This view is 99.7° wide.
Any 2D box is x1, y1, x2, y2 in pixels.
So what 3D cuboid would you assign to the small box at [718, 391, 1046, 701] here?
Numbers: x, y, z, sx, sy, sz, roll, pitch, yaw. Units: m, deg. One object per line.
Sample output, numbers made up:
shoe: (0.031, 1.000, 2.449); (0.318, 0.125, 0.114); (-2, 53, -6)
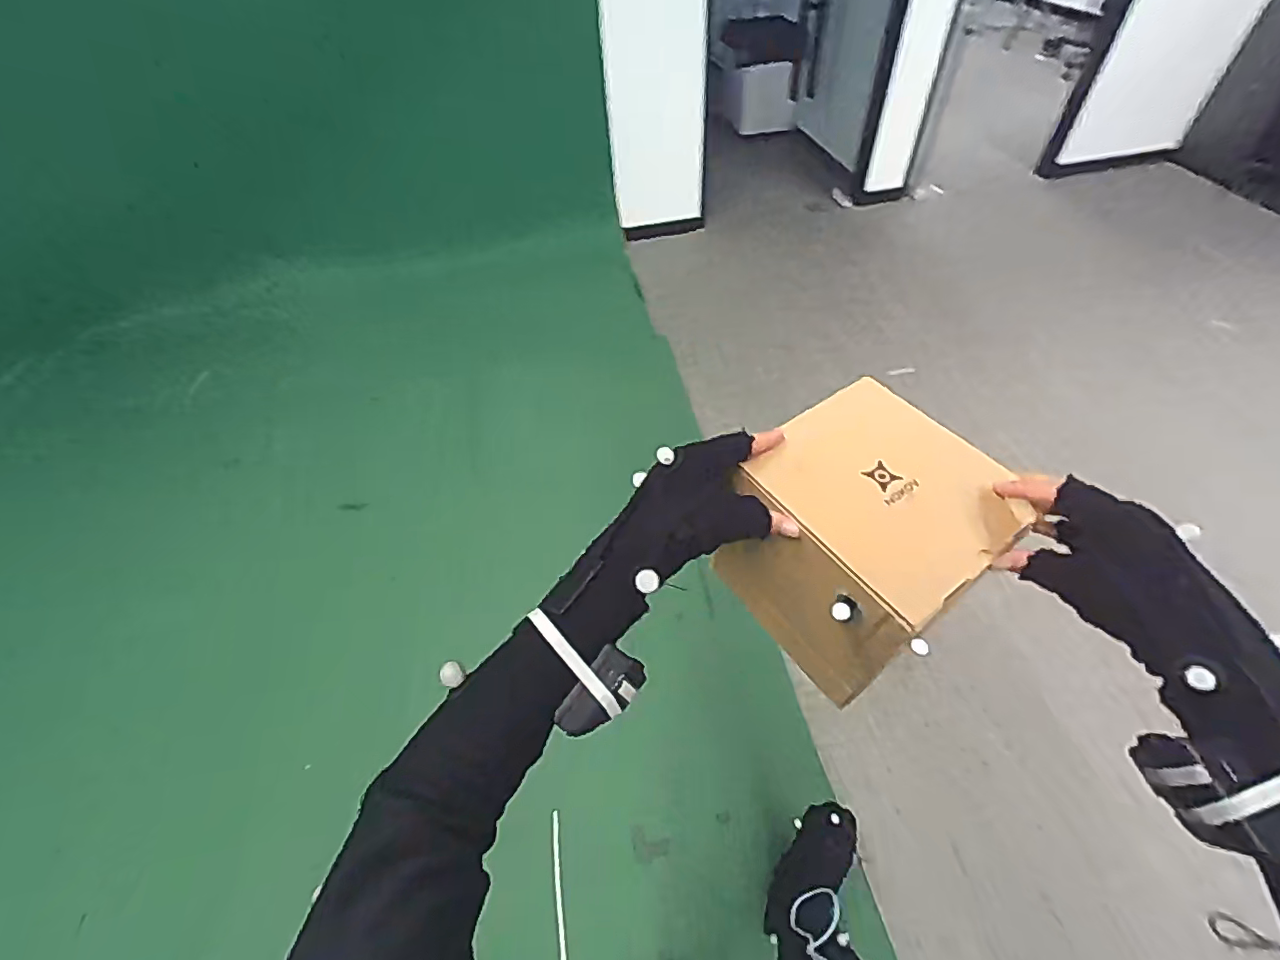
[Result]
small box: (0.187, 0.059, 0.478); (0.168, 0.176, 0.179); (-29, 57, -21)
